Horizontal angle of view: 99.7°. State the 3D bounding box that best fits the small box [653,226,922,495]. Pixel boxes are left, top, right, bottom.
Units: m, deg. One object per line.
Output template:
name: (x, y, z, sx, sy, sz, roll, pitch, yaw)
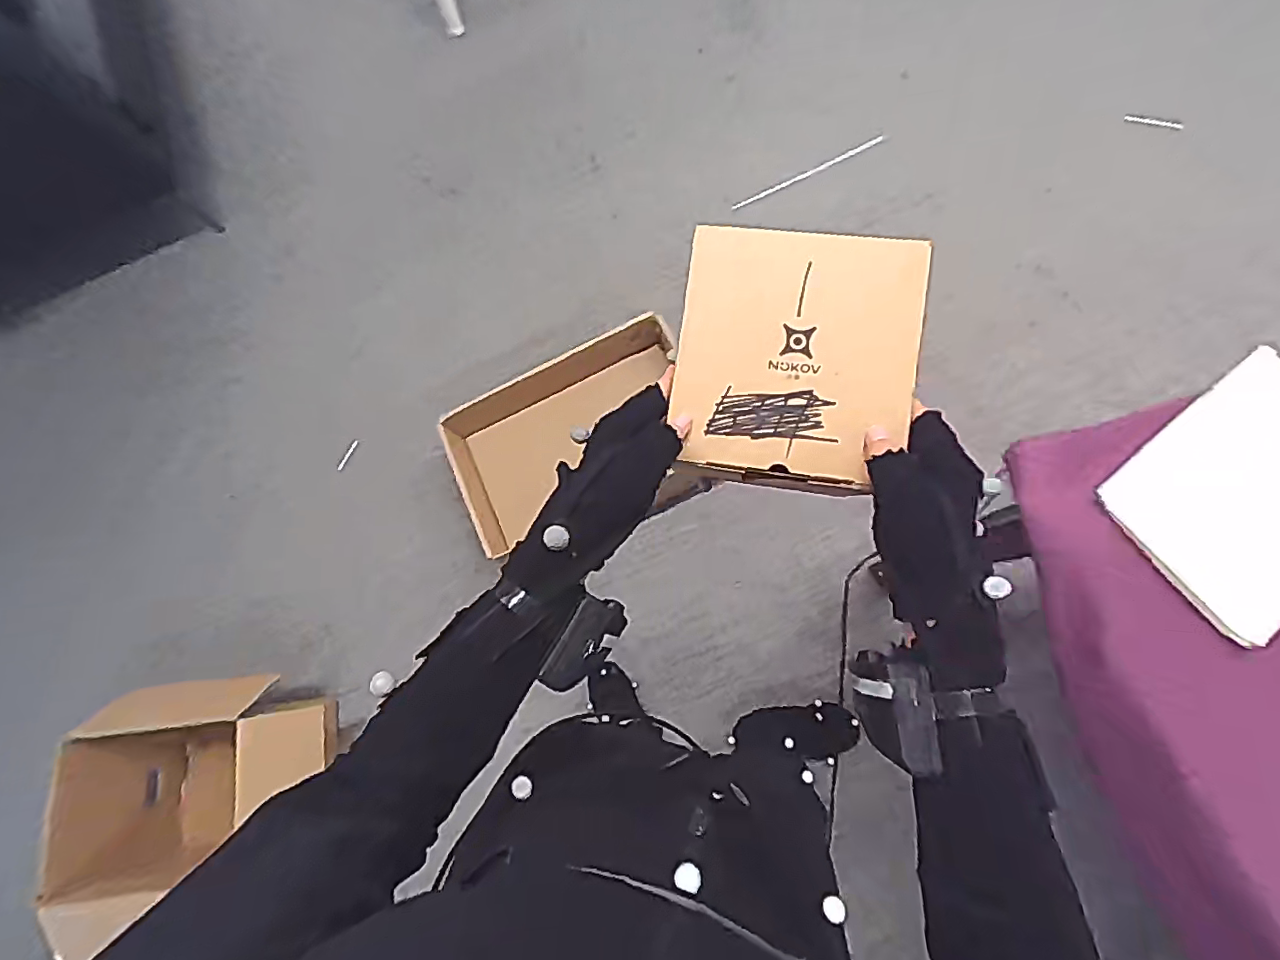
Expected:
small box: (0.111, -0.083, 0.455, 0.168, 0.176, 0.179, 8, 88, 8)
